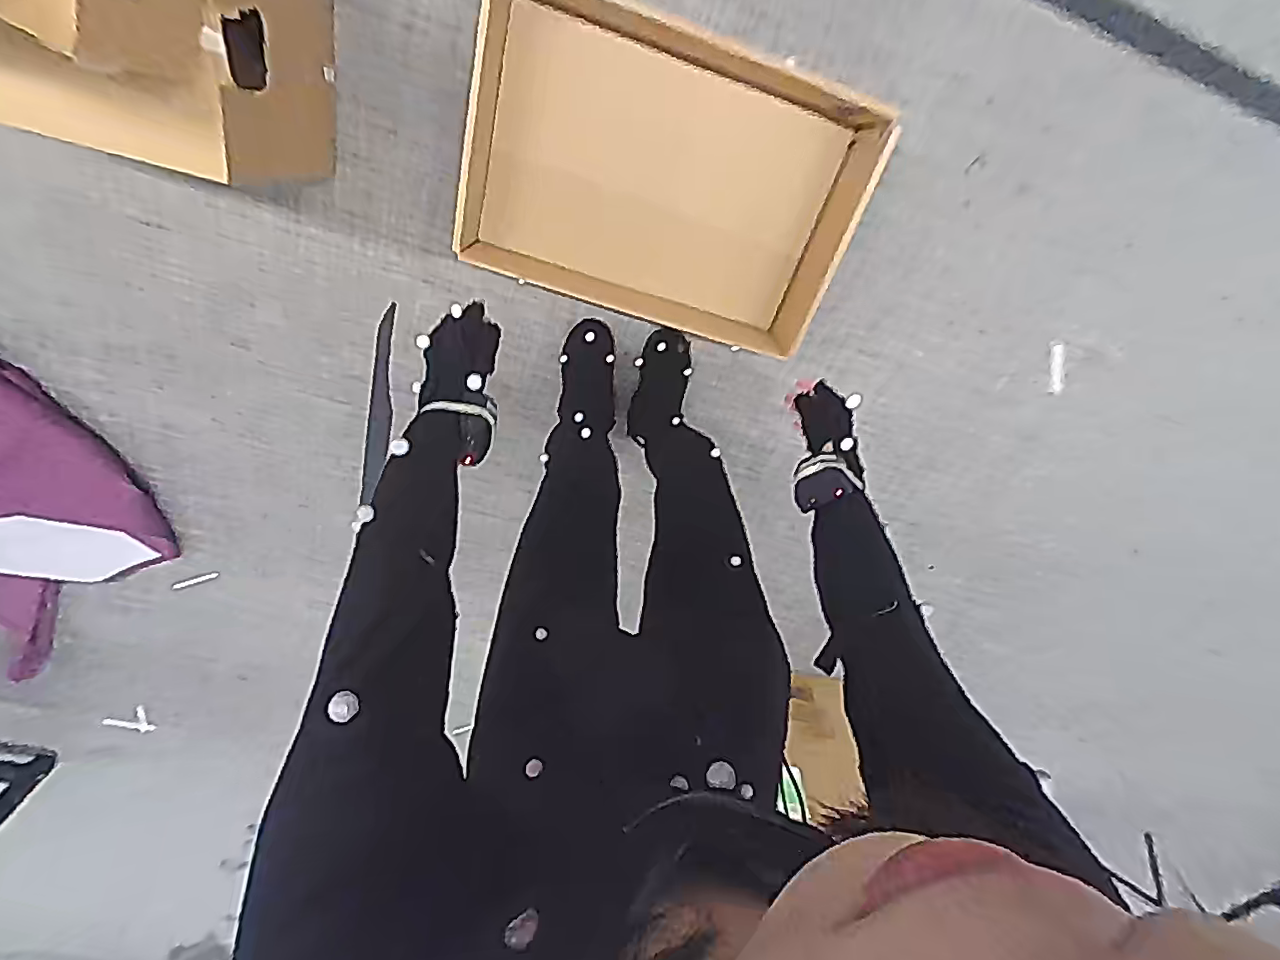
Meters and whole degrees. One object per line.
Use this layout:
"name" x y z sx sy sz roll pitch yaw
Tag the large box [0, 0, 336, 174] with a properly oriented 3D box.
"large box" -0.694 -0.641 0.739 0.408 0.320 0.320 11 120 -9
